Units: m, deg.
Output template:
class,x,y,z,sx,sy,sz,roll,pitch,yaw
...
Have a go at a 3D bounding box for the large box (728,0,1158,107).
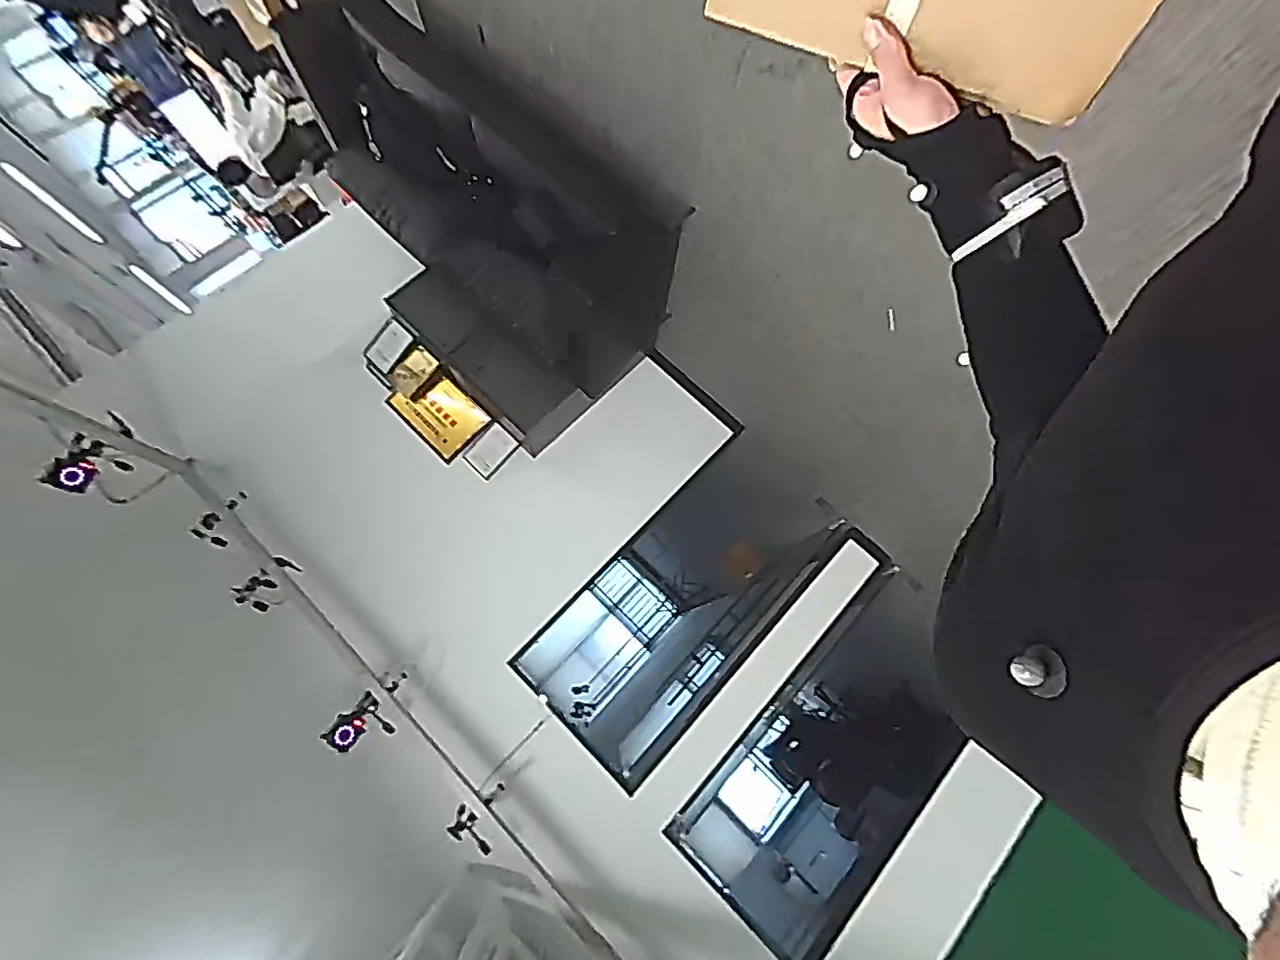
class,x,y,z,sx,sy,sz,roll,pitch,yaw
large box,0.296,-0.566,0.372,0.320,0.320,0.408,26,144,10
